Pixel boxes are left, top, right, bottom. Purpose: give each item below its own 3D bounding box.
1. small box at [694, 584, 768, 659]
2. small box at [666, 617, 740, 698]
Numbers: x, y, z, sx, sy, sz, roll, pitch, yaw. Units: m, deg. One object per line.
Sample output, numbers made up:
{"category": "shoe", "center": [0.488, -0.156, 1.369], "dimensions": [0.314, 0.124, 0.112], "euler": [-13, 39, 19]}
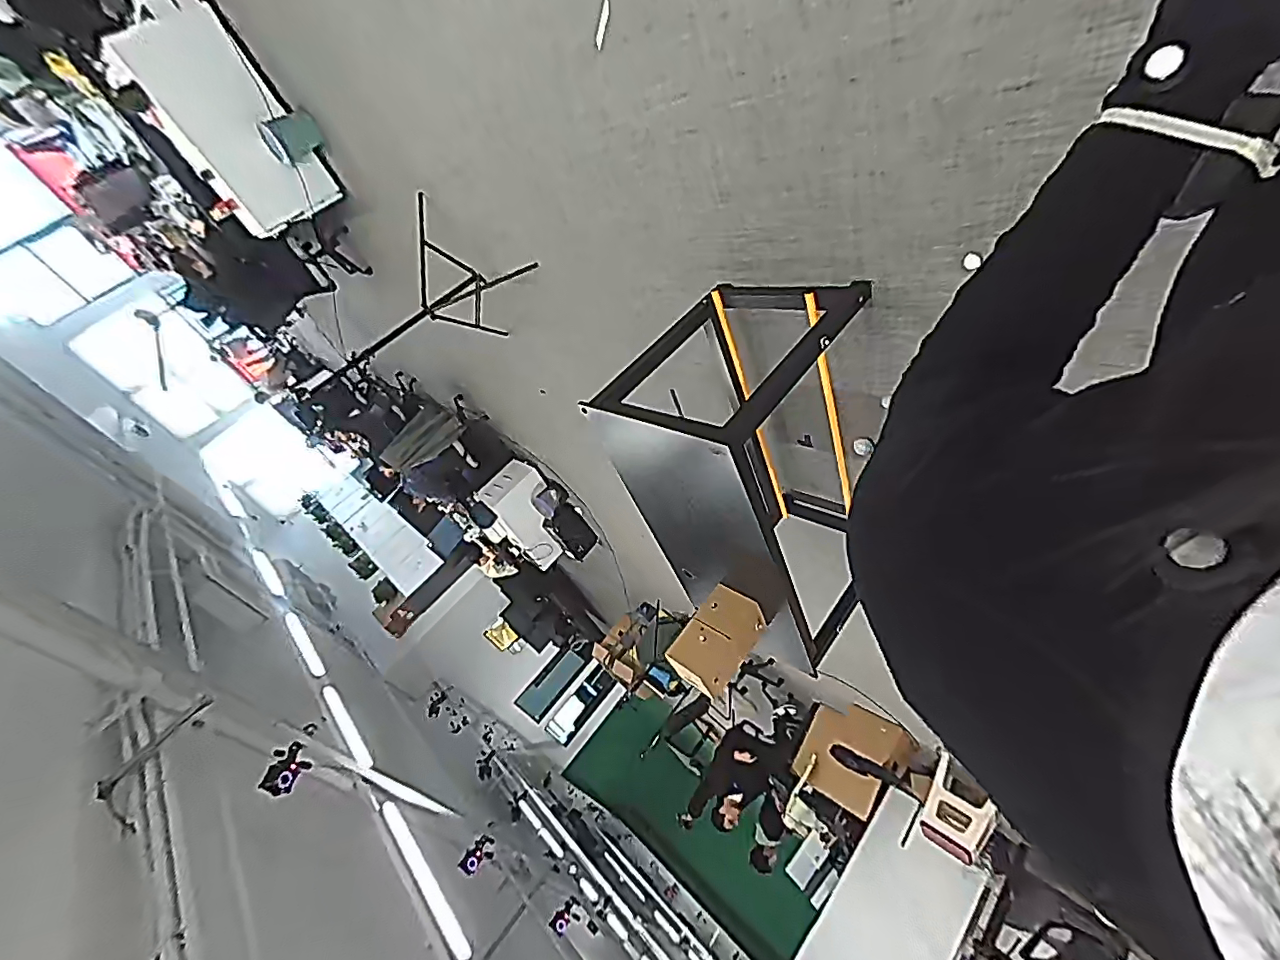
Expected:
{"category": "small box", "center": [0.330, 0.501, 1.943], "dimensions": [0.179, 0.176, 0.168], "euler": [21, 150, 44]}
{"category": "small box", "center": [0.226, 0.613, 1.883], "dimensions": [0.168, 0.176, 0.179], "euler": [21, 150, 45]}
